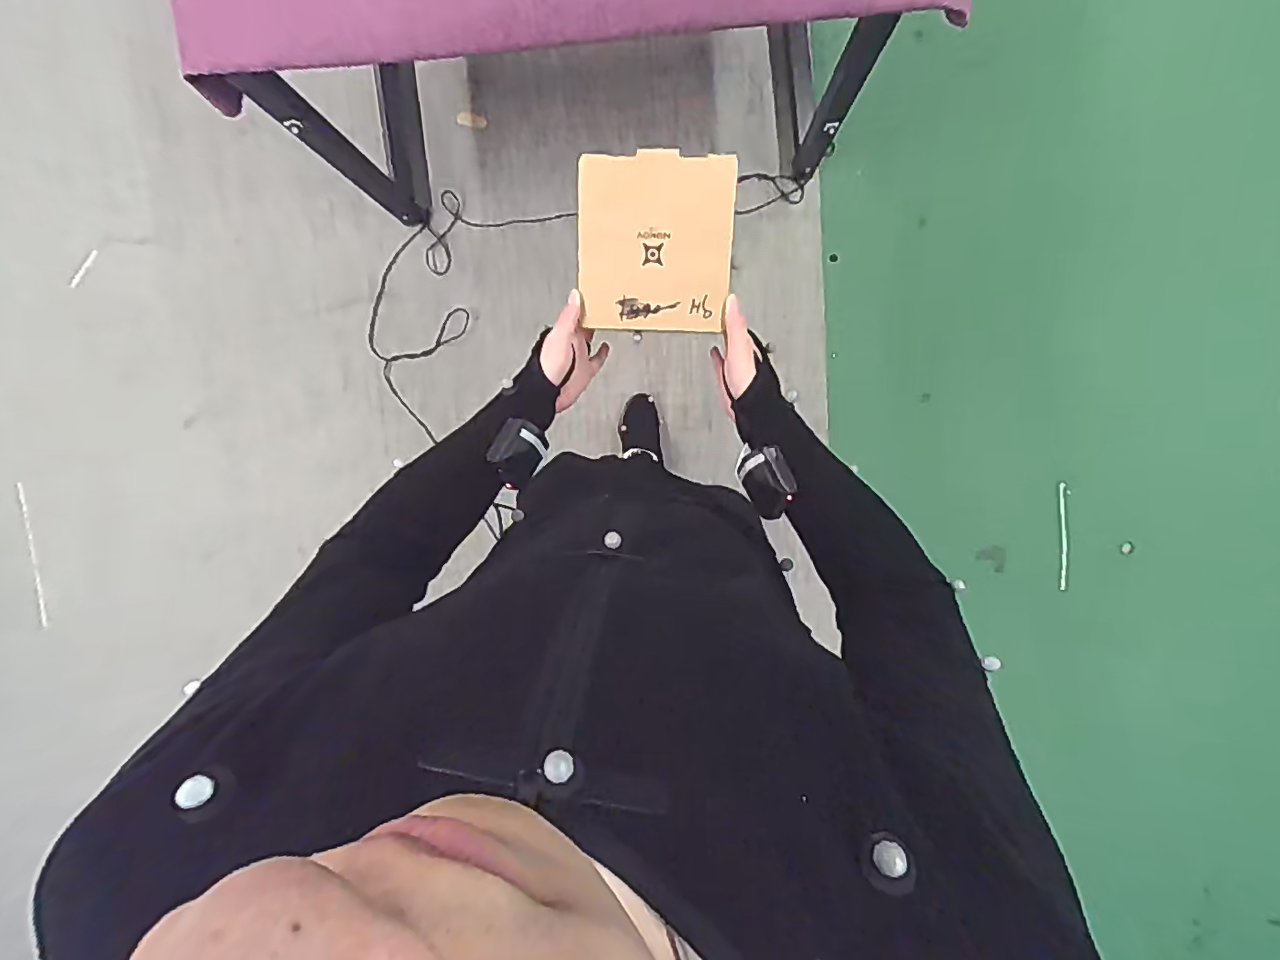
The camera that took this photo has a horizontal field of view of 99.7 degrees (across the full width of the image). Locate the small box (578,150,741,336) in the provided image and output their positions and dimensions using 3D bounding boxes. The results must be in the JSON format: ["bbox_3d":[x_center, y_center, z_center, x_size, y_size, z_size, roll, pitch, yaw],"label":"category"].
[{"bbox_3d":[0.025,-0.270,0.650,0.168,0.176,0.179,4,104,6],"label":"small box"}]
